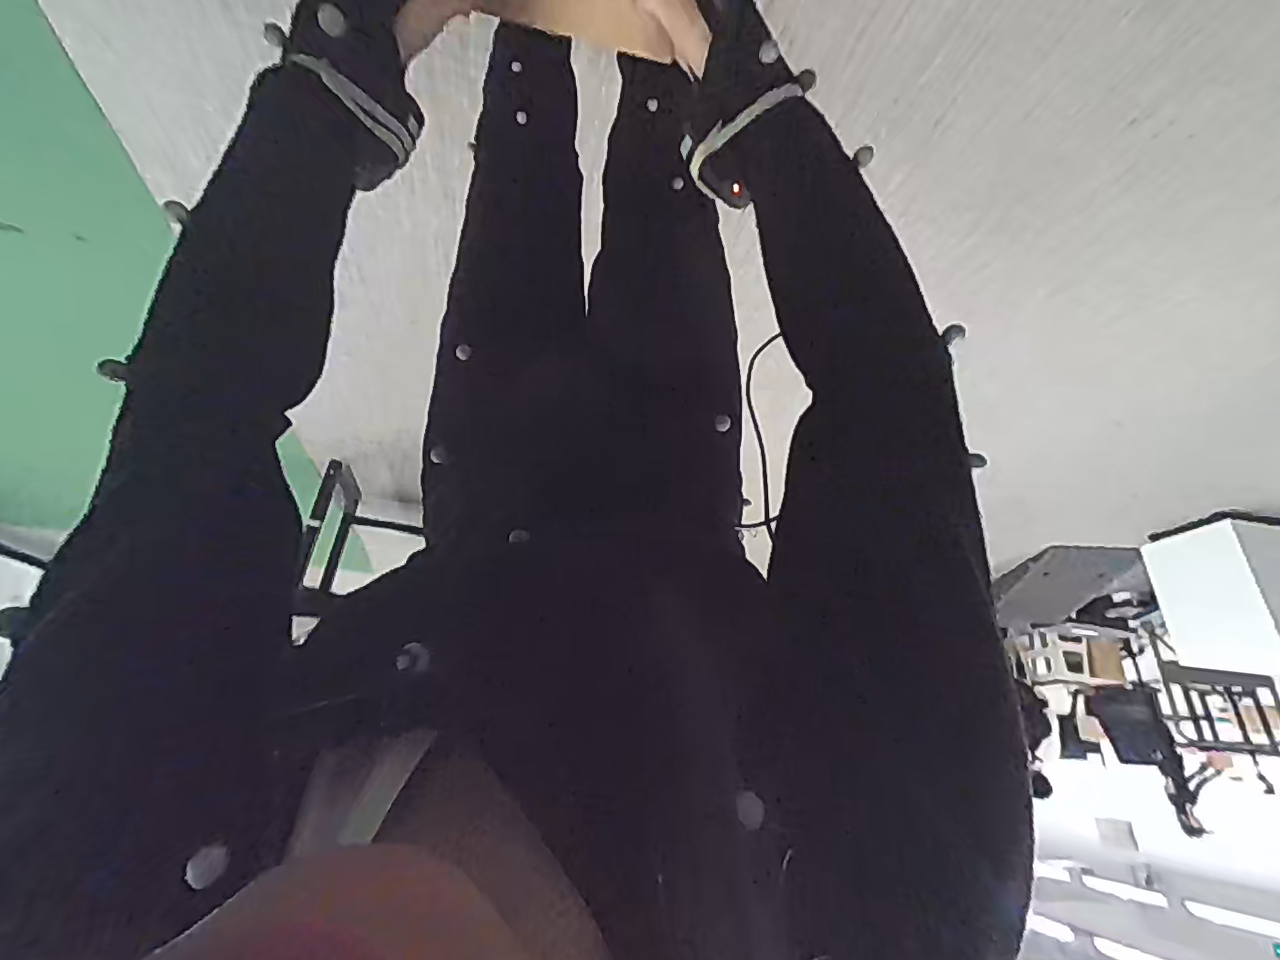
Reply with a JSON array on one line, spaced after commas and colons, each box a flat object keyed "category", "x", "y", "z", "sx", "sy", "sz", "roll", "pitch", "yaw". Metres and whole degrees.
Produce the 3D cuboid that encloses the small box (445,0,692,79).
[{"category": "small box", "x": -0.039, "y": -0.435, "z": 0.379, "sx": 0.179, "sy": 0.176, "sz": 0.168, "roll": 8, "pitch": 154, "yaw": -9}]
